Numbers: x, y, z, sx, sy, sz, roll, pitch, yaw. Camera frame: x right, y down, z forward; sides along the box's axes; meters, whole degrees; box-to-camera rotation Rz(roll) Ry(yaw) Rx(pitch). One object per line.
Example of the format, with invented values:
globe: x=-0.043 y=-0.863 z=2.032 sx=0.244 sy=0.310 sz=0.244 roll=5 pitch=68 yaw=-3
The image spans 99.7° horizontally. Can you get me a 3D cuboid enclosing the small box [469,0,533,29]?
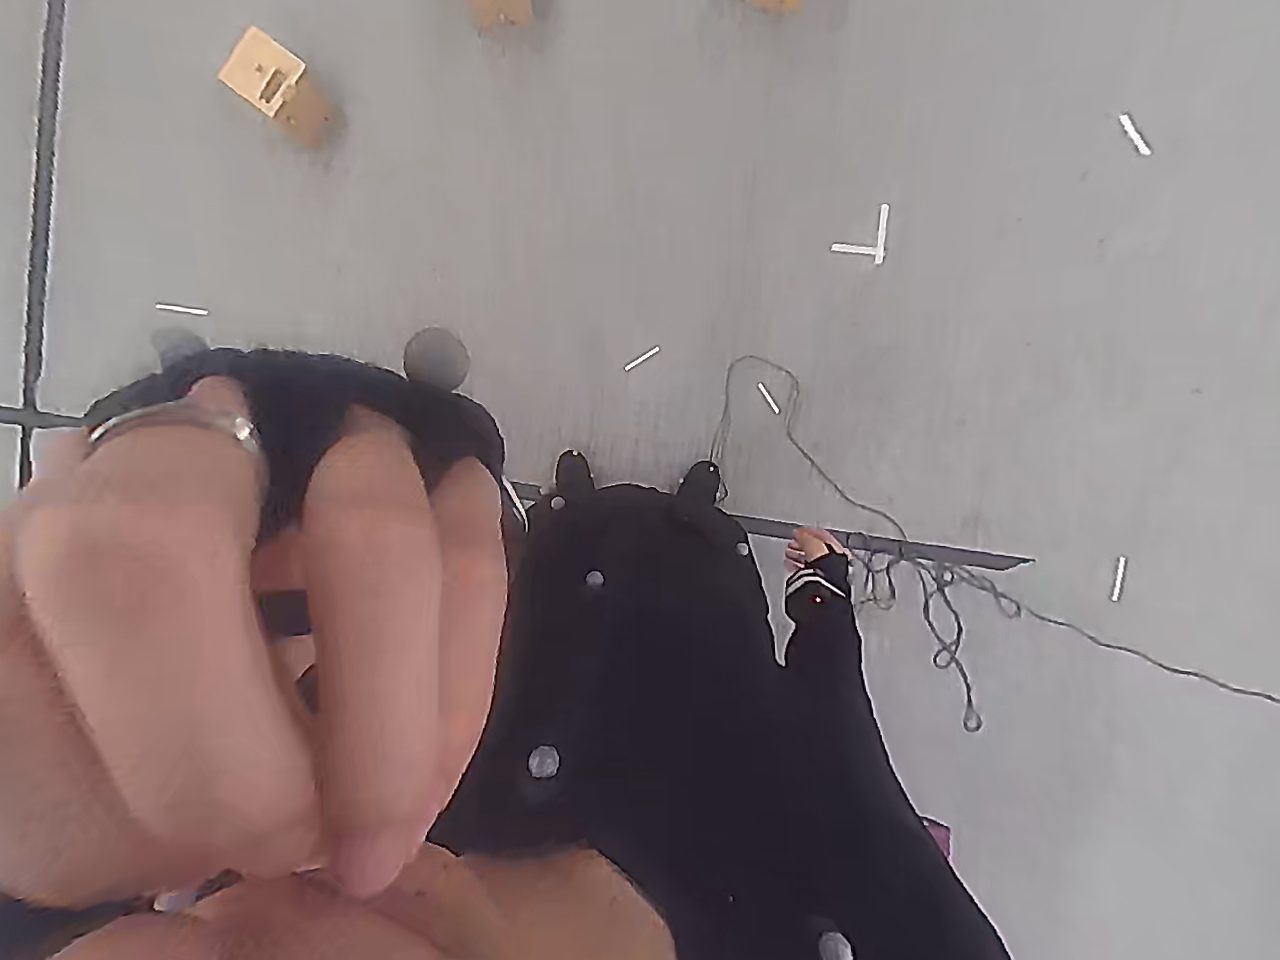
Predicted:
small box: x=-0.393 y=-1.382 z=1.464 sx=0.168 sy=0.176 sz=0.179 roll=-7 pitch=94 yaw=0
